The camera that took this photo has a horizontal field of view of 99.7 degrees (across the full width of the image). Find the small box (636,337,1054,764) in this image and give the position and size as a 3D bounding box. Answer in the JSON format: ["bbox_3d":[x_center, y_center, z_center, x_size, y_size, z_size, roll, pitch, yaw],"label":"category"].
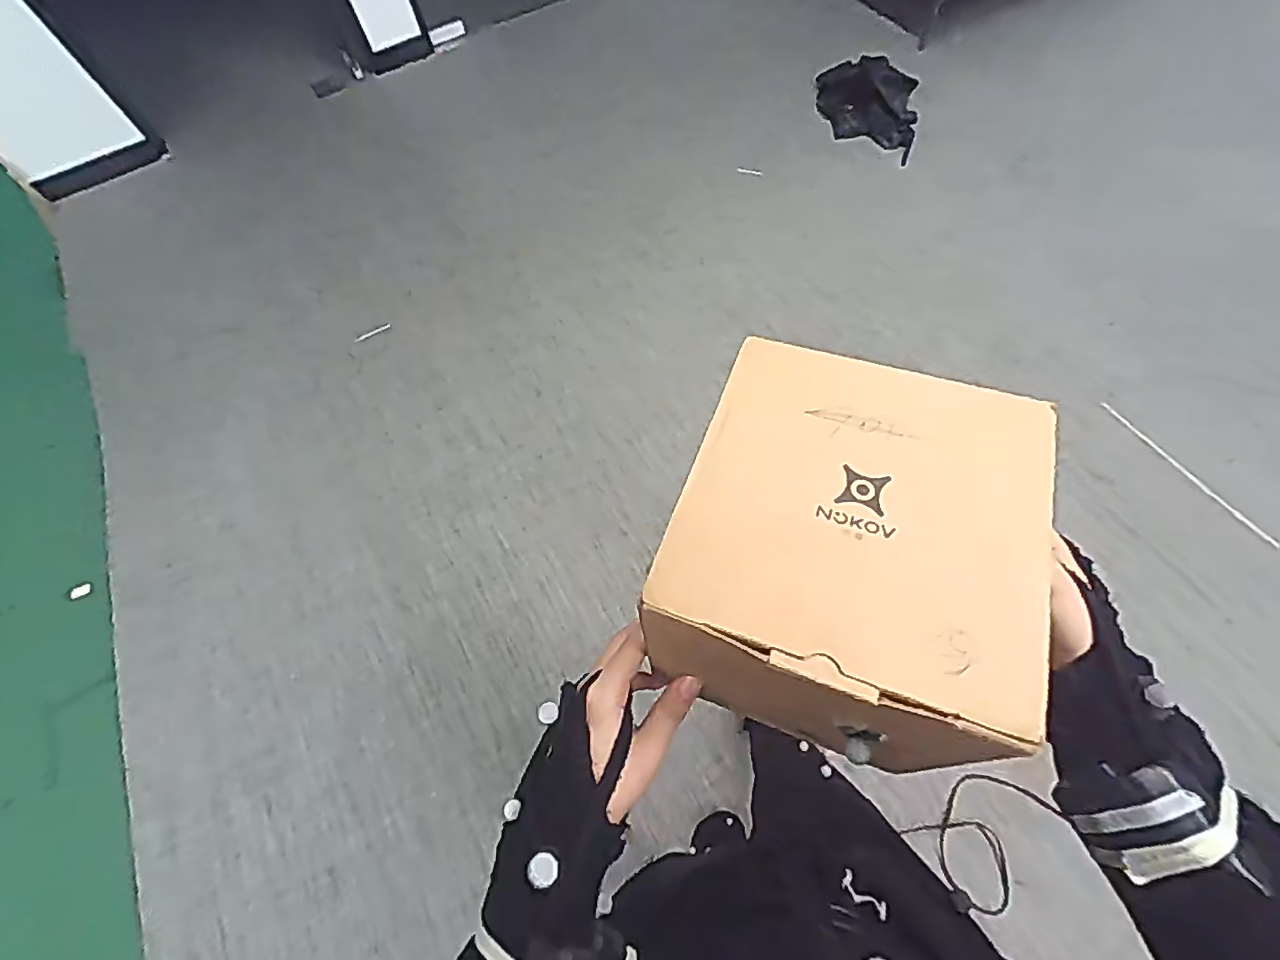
[{"bbox_3d":[0.109,0.050,0.325,0.168,0.176,0.179,17,61,13],"label":"small box"}]
